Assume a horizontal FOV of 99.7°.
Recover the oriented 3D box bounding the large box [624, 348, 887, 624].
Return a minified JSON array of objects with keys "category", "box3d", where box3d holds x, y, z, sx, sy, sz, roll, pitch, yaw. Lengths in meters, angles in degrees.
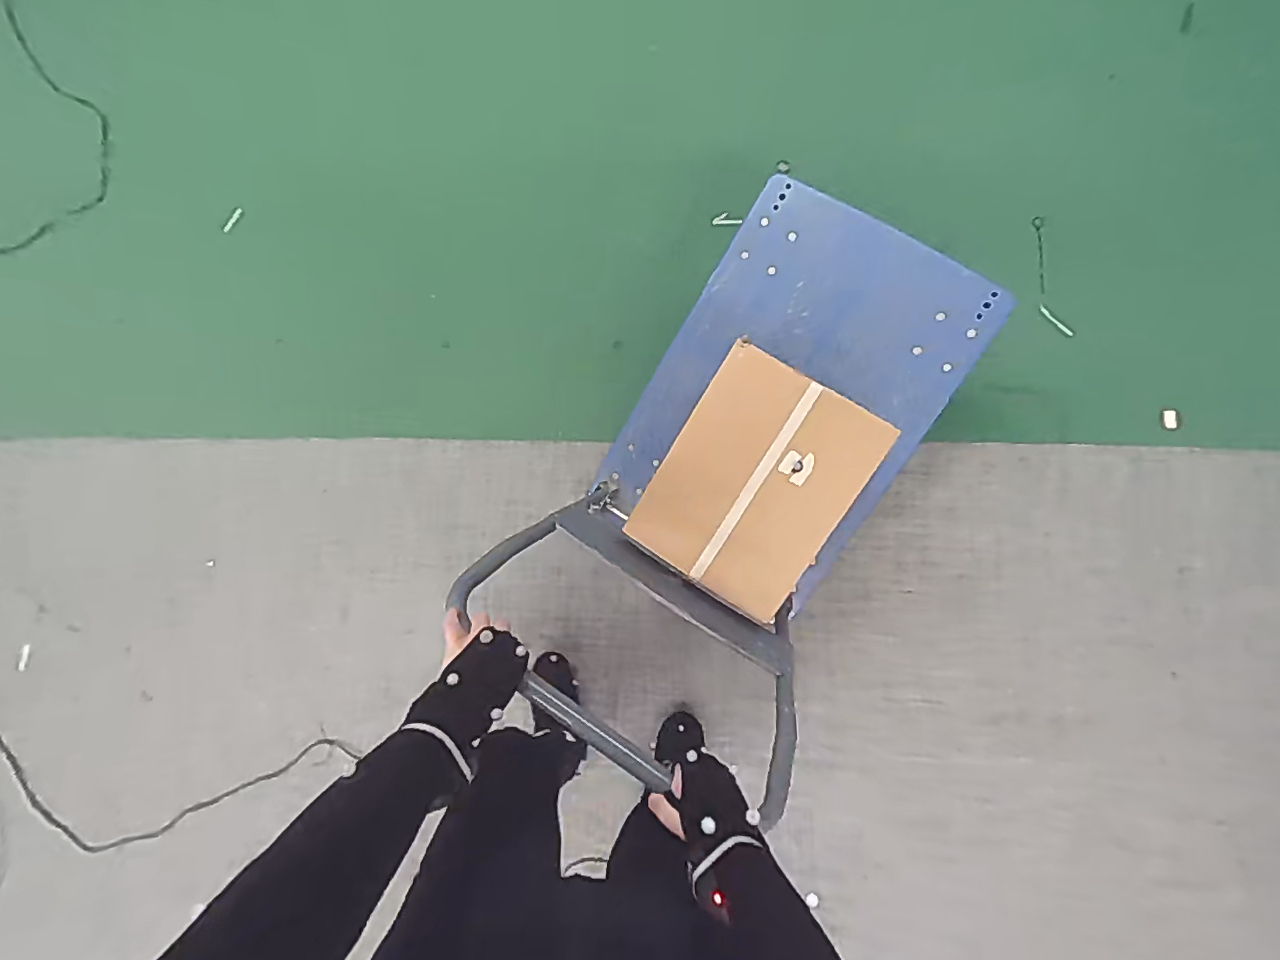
[{"category":"large box","box3d":[0.222,0.006,1.101,0.320,0.320,0.408,32,99,7]}]
